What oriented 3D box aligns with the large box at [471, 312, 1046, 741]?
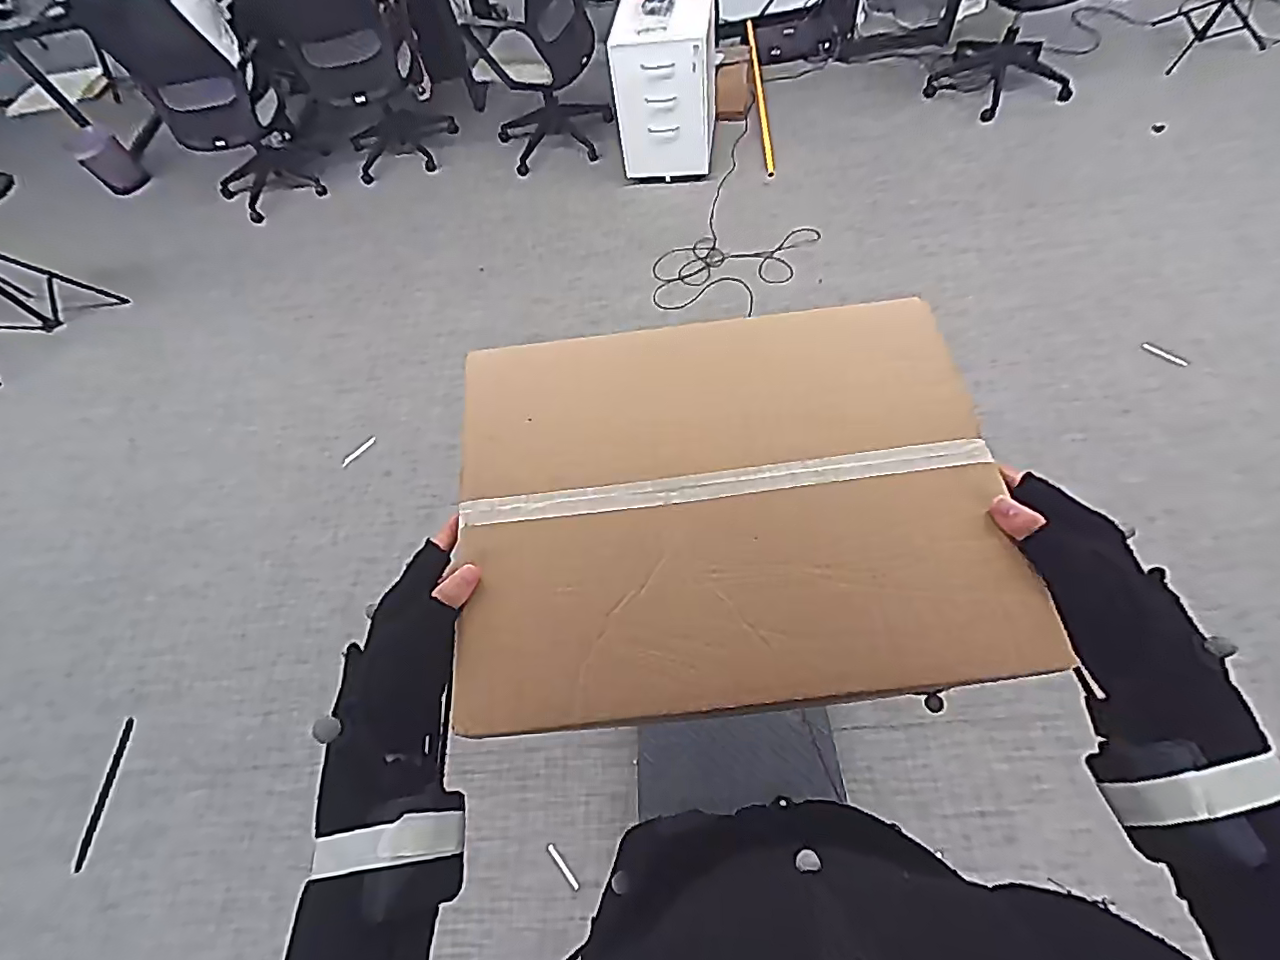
[{"bbox_3d":[0.075,0.072,0.563,0.408,0.320,0.320,-7,65,1],"label":"large box"}]
